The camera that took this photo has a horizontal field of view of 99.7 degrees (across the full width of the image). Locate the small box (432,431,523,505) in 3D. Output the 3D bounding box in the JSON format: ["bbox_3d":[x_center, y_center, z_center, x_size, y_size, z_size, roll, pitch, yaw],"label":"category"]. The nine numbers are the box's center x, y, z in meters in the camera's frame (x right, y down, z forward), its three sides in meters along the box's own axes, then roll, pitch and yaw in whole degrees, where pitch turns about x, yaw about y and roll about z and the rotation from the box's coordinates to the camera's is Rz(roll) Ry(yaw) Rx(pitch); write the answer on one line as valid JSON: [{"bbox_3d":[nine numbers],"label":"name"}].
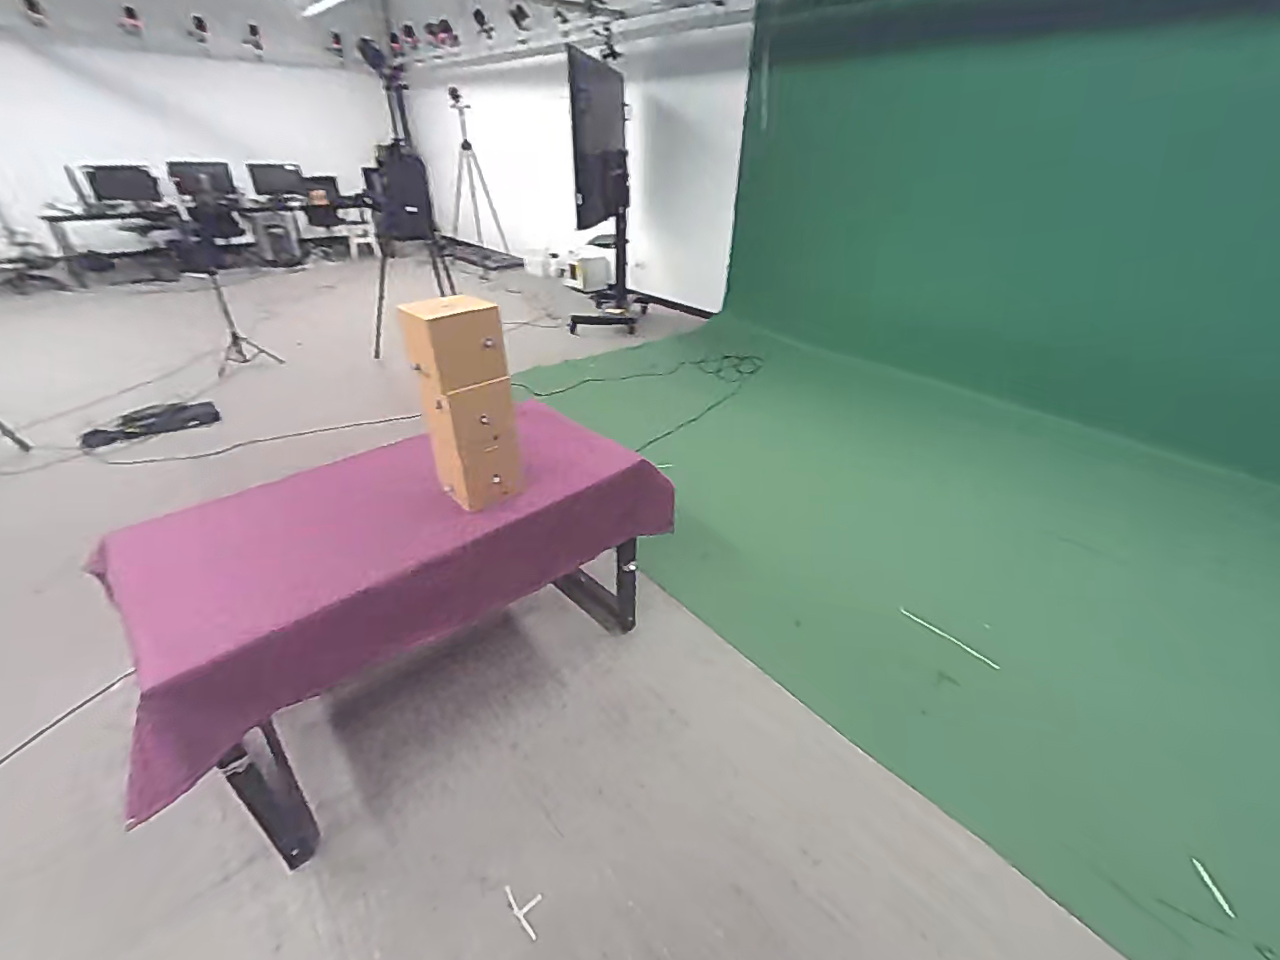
[{"bbox_3d":[-0.426,-0.053,1.436,0.168,0.176,0.179,-25,41,-35],"label":"small box"}]

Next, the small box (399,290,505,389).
[{"bbox_3d":[-0.429,-0.330,1.259,0.179,0.176,0.168,-26,40,-35],"label":"small box"}]

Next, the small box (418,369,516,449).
[{"bbox_3d":[-0.425,-0.191,1.345,0.168,0.176,0.179,-25,41,-36],"label":"small box"}]
